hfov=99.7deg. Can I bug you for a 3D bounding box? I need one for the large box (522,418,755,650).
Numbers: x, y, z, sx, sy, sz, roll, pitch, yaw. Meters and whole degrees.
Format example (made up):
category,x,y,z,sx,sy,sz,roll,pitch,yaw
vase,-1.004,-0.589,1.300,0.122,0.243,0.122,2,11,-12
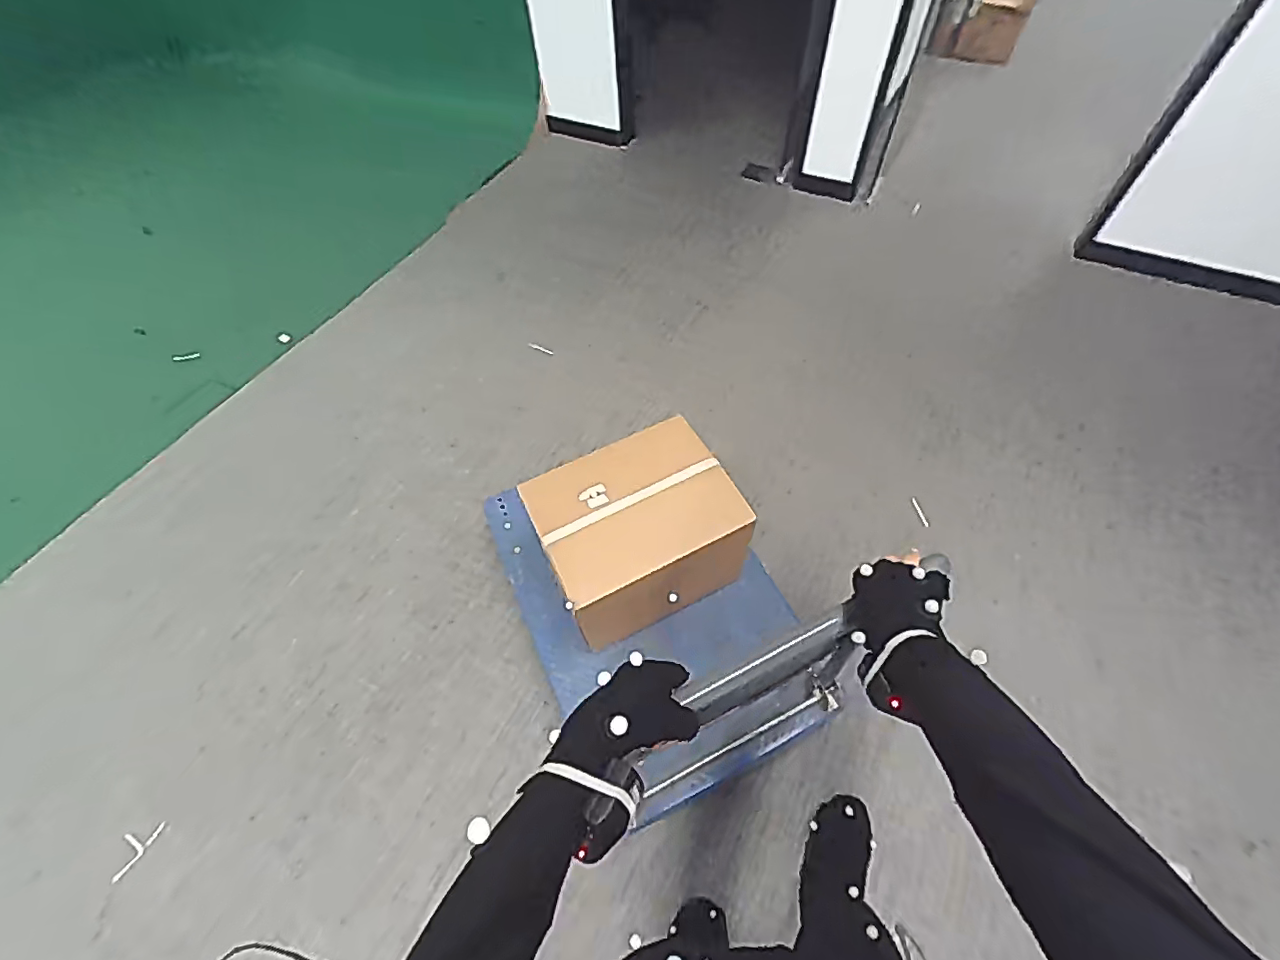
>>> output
category,x,y,z,sx,sy,sz,roll,pitch,yaw
large box,-0.001,0.129,1.247,0.408,0.320,0.320,-26,59,-12
